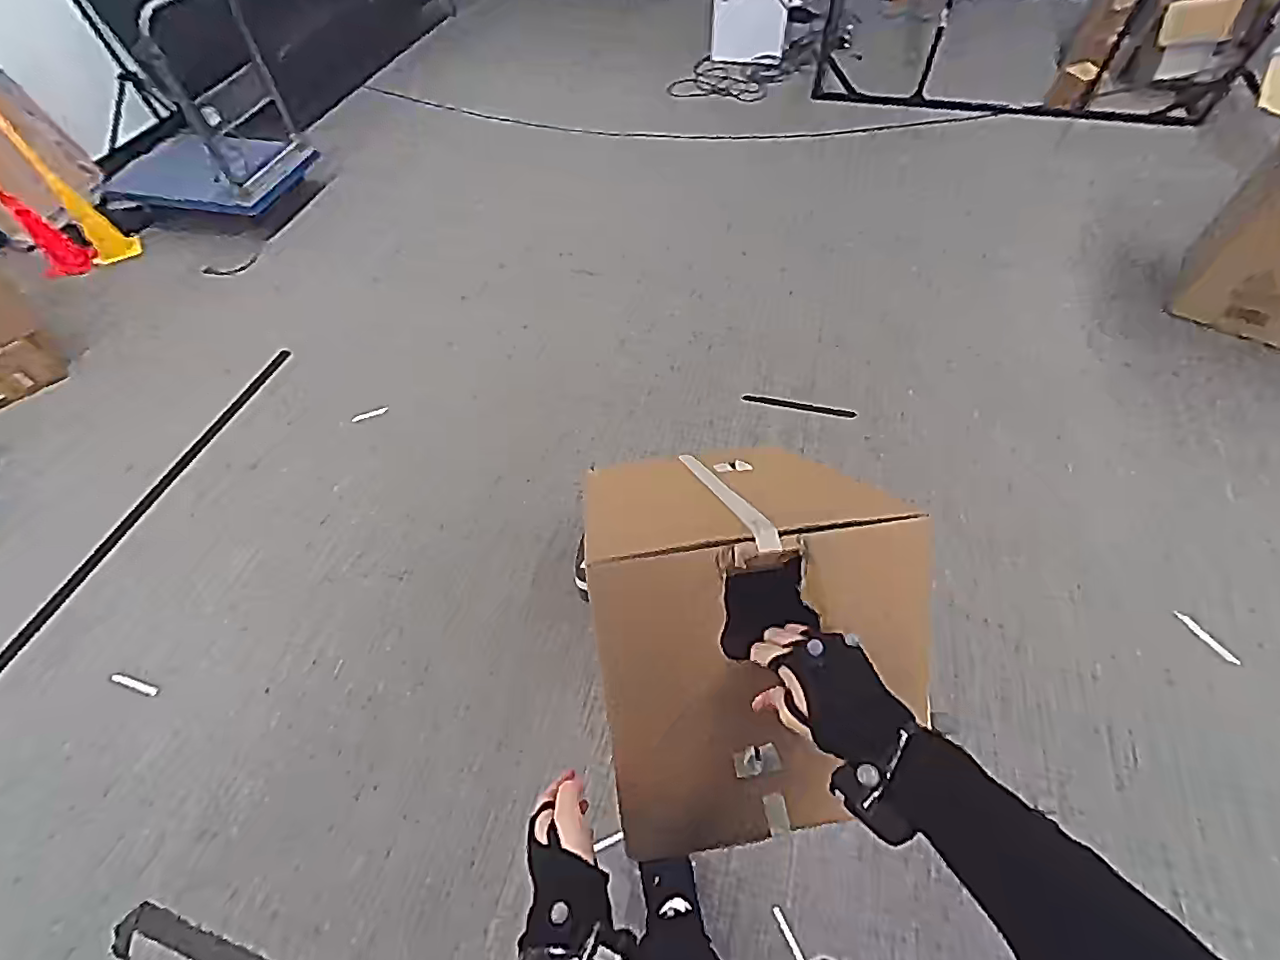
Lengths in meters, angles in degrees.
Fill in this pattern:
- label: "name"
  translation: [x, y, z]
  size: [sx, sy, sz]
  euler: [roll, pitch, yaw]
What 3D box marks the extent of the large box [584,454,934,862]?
- label: "large box"
  translation: [0.106, 0.164, 0.685]
  size: [0.320, 0.320, 0.408]
  euler: [-7, 12, -4]
